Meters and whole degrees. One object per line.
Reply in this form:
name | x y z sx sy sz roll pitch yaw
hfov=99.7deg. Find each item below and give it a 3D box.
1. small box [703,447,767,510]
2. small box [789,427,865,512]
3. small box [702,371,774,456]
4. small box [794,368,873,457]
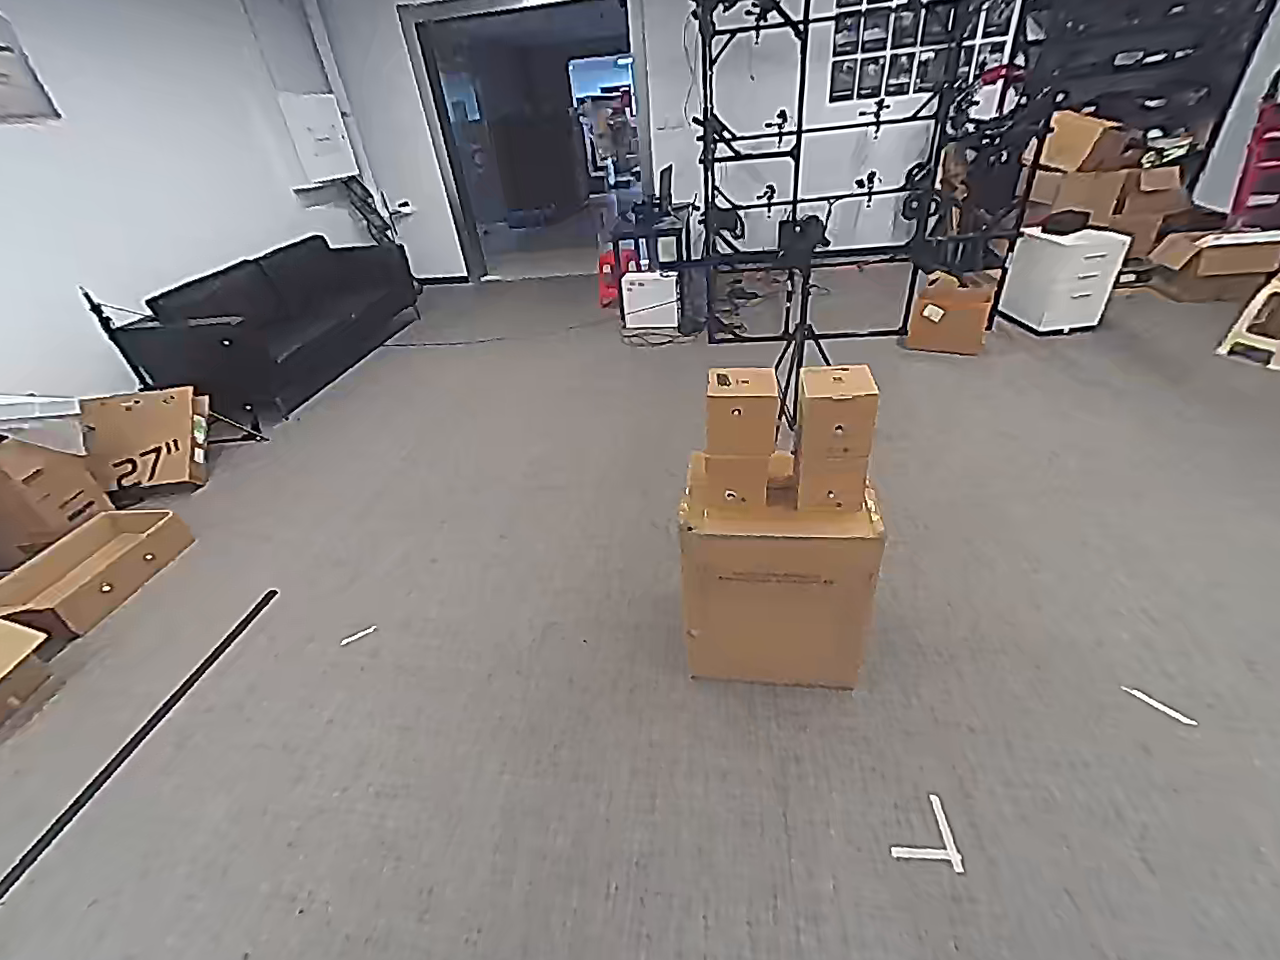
small box | 0.263 -0.037 1.510 0.168 0.176 0.179 0 36 9
small box | 0.496 -0.031 1.458 0.168 0.176 0.179 -1 35 11
small box | 0.257 -0.174 1.421 0.179 0.176 0.168 1 35 9
small box | 0.483 -0.168 1.369 0.168 0.176 0.179 -1 35 11
